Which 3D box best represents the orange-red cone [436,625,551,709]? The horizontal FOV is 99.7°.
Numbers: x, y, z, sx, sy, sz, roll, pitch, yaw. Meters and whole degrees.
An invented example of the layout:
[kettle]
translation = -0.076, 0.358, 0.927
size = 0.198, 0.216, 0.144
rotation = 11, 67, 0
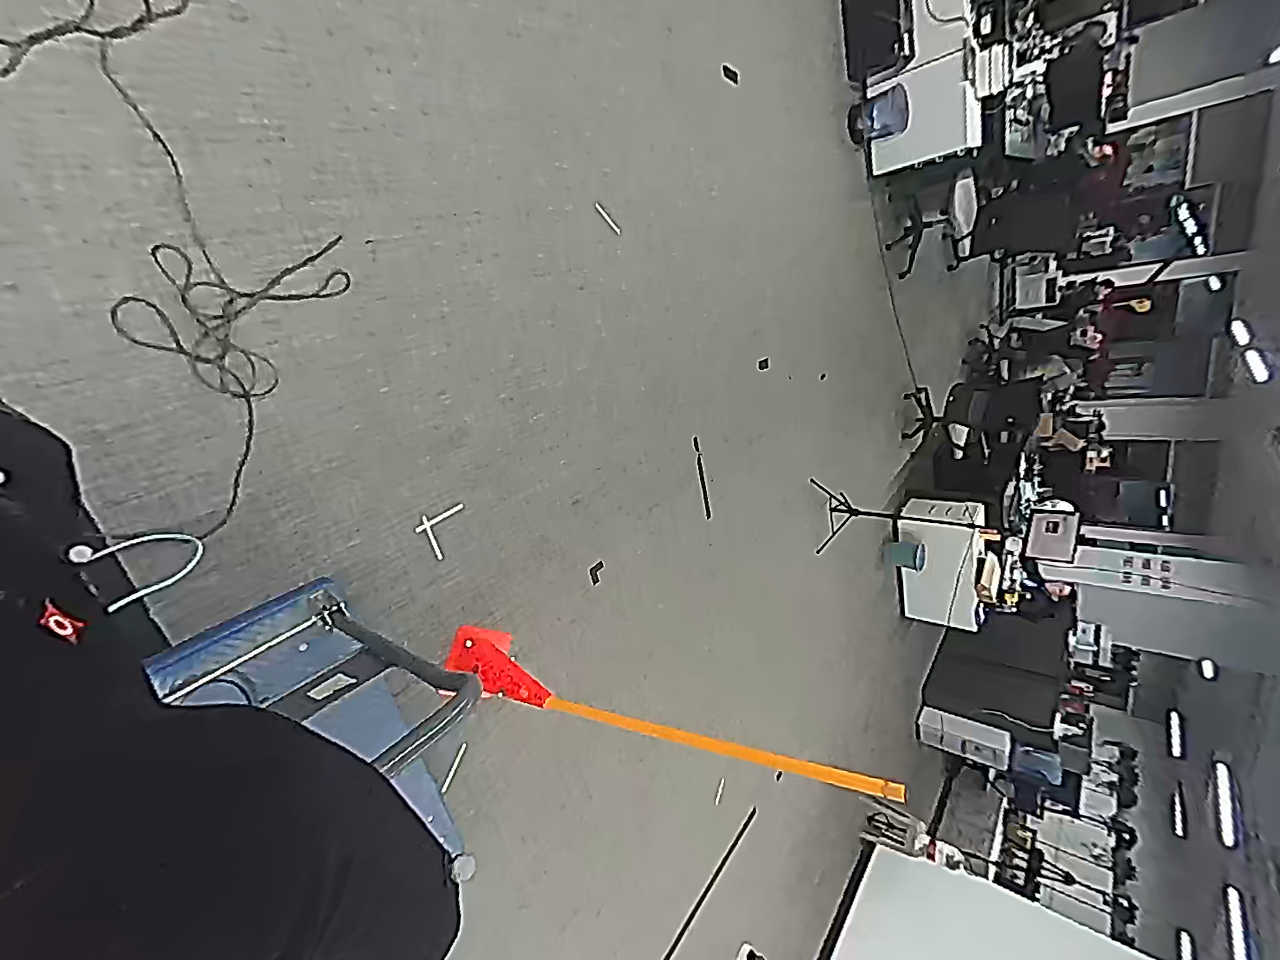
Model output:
[orange-red cone]
translation = -0.370, 0.558, 1.502
size = 0.198, 0.360, 0.199
rotation = 31, 72, -45
